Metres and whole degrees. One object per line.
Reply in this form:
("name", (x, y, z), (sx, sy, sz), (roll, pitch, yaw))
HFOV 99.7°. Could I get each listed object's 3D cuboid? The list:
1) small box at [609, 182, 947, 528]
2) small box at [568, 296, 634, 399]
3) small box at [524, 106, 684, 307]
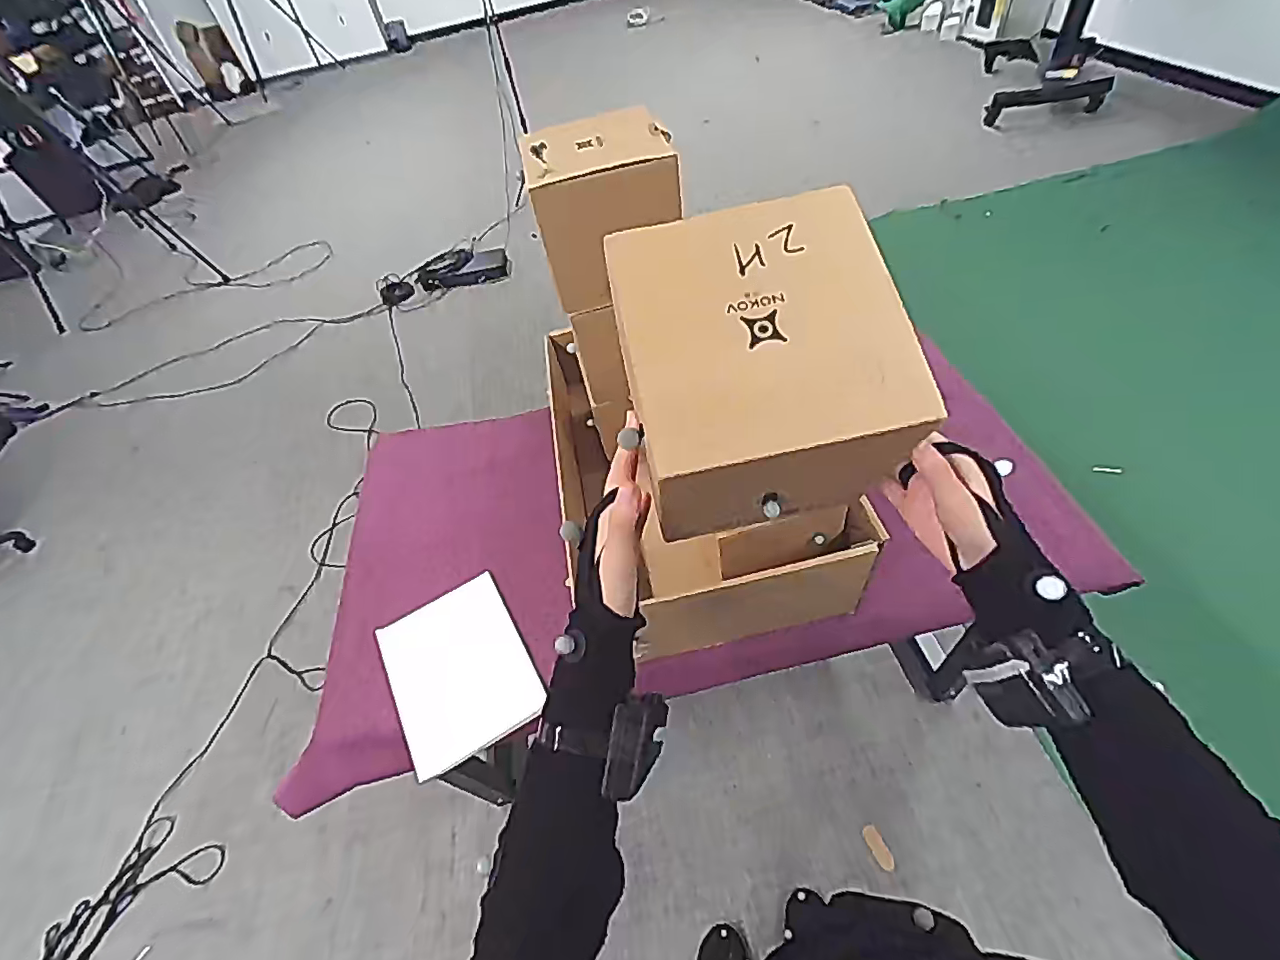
("small box", (0.080, -0.071, 0.397), (0.168, 0.176, 0.179), (-11, 71, -1))
("small box", (-0.017, -0.254, 0.839), (0.179, 0.176, 0.168), (-15, 51, -2))
("small box", (-0.042, -0.357, 0.713), (0.179, 0.176, 0.168), (-13, 51, -2))
